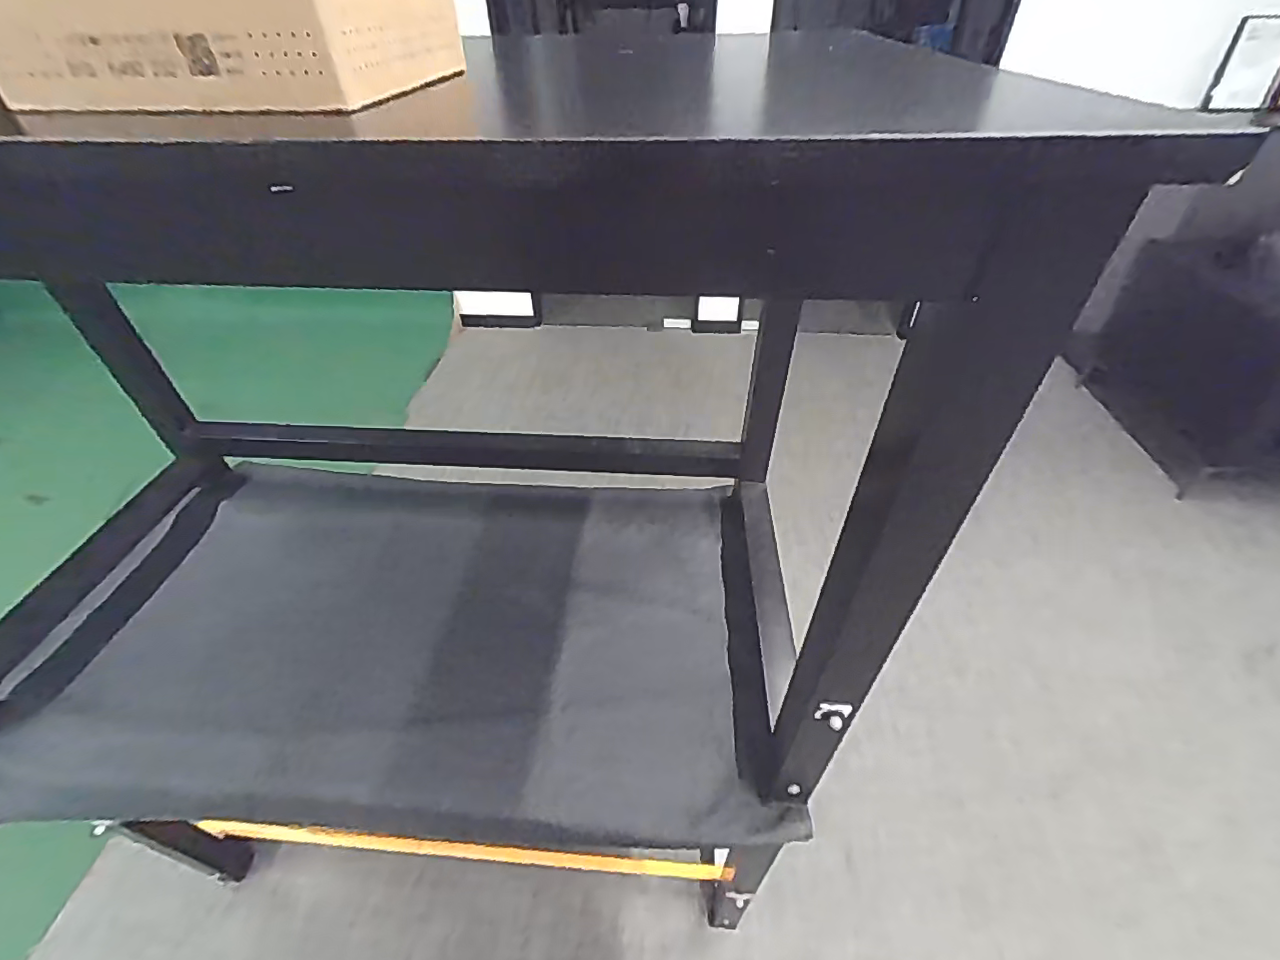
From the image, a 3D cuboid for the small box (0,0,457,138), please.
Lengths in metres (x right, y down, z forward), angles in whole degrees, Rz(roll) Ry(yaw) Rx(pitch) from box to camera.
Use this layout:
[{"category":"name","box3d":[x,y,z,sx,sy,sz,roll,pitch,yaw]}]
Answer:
[{"category":"small box","box3d":[-0.206,-0.278,0.263,0.168,0.176,0.179,2,42,3]}]
